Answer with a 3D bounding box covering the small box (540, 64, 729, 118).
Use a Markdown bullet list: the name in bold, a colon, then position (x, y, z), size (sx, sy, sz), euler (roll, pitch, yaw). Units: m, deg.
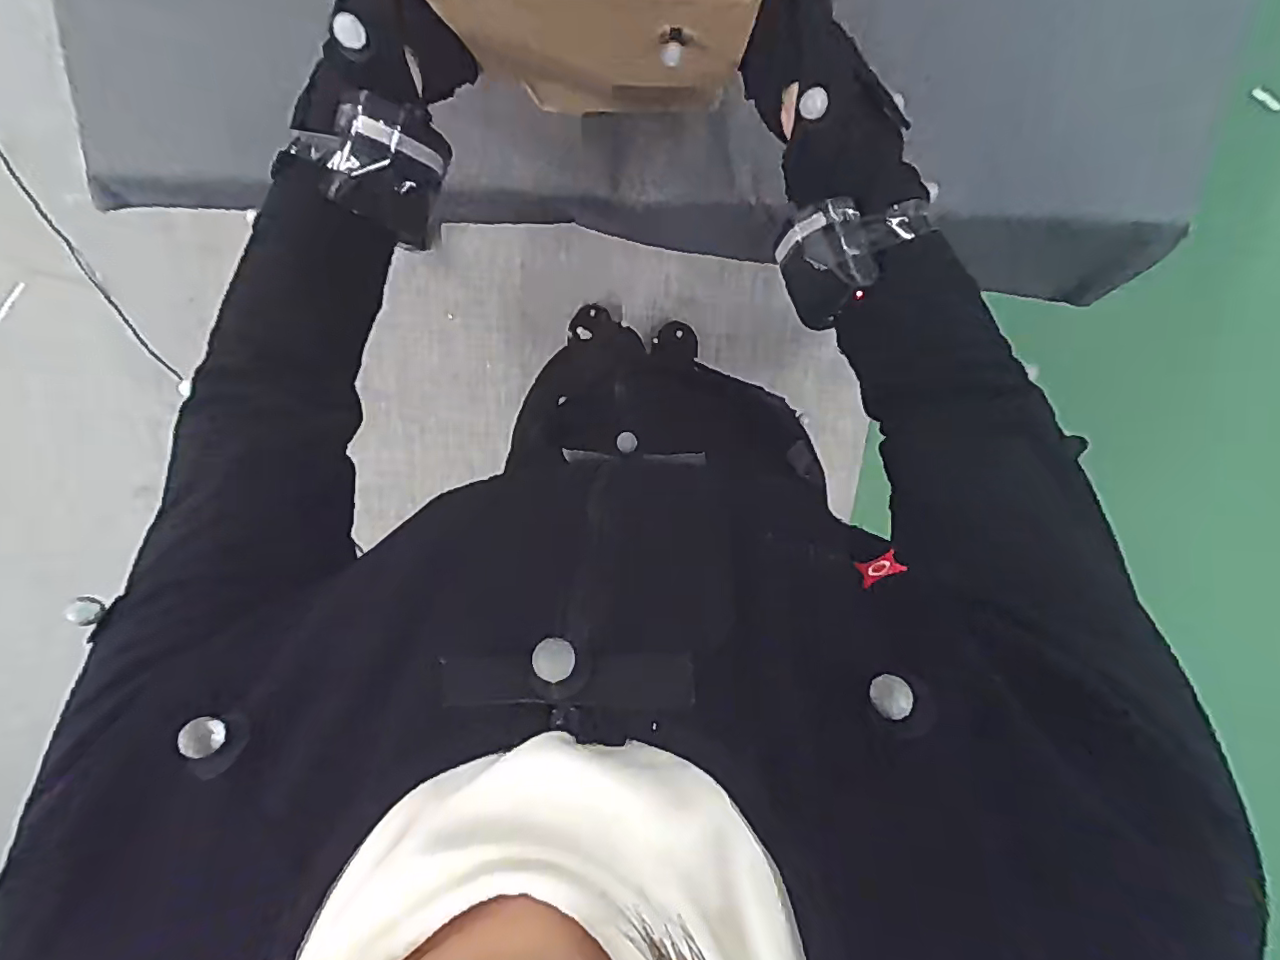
- **small box**: position (-0.011, -0.417, 0.442), size (0.179, 0.176, 0.168), euler (-2, 109, 3)
